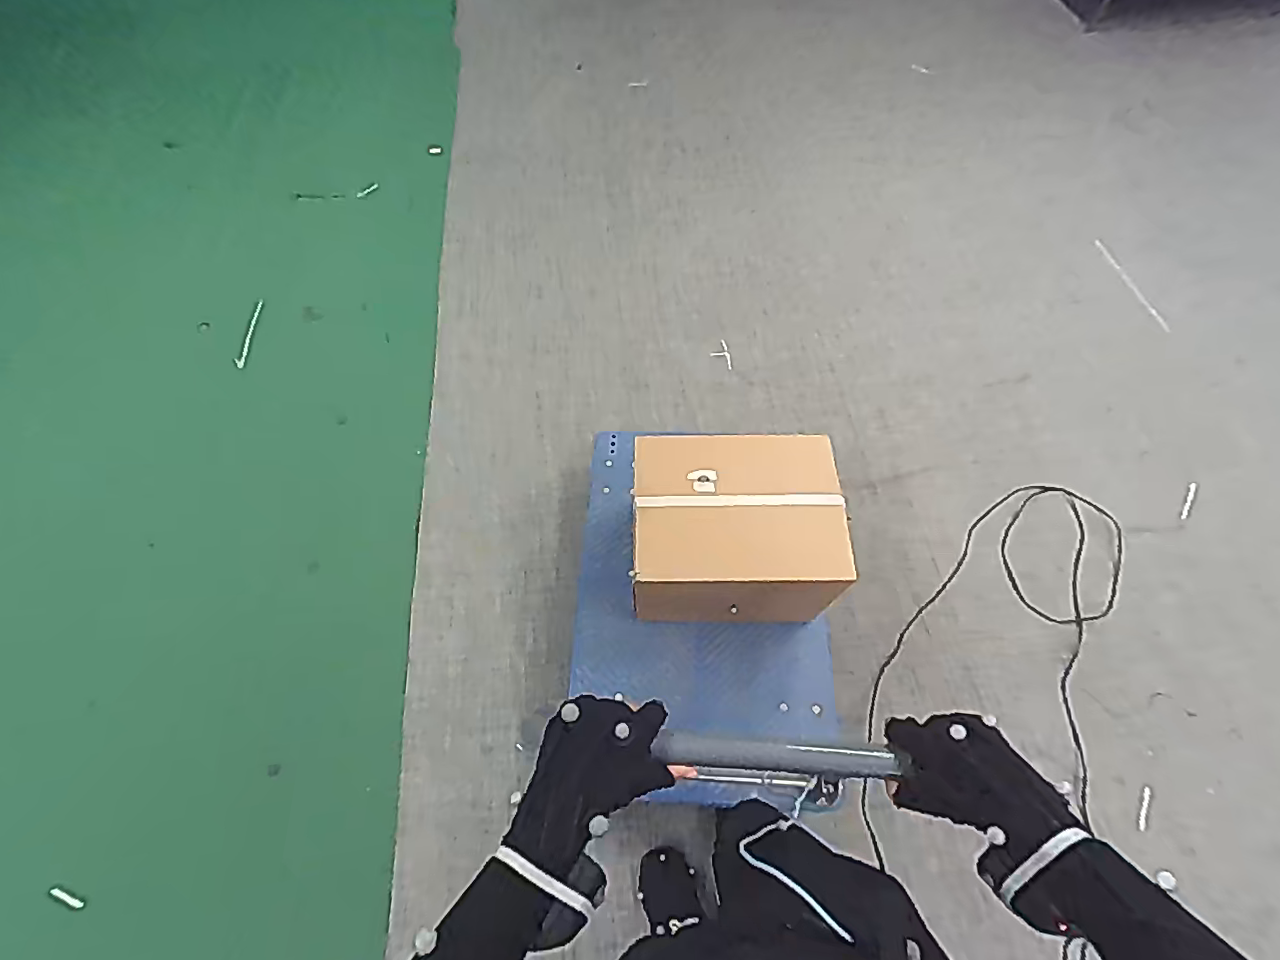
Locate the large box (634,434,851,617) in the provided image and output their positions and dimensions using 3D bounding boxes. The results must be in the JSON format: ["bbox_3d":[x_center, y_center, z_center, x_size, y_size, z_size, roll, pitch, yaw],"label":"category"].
[{"bbox_3d":[0.196,0.114,1.196,0.408,0.320,0.320,-2,62,1],"label":"large box"}]
